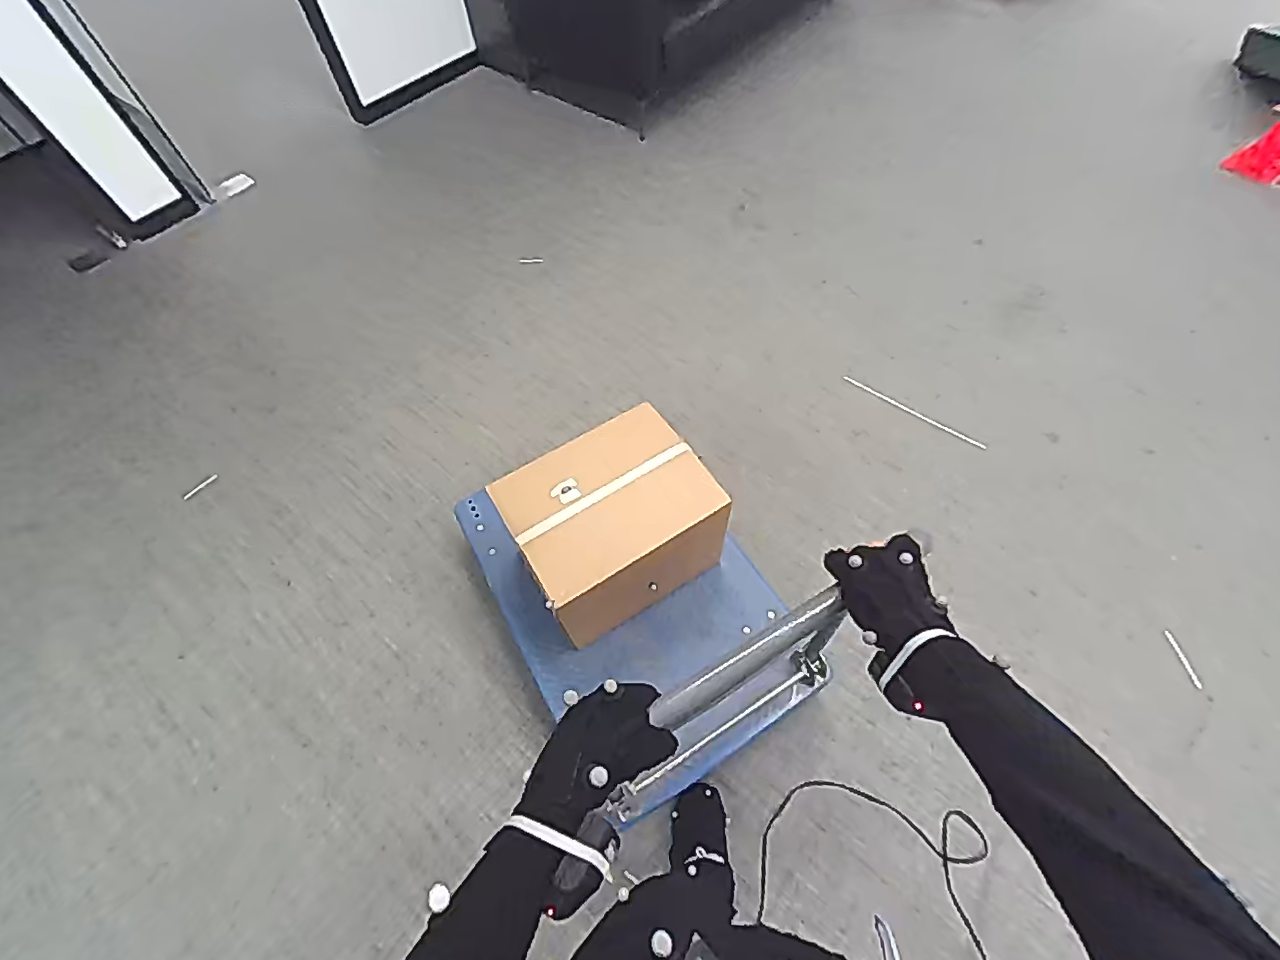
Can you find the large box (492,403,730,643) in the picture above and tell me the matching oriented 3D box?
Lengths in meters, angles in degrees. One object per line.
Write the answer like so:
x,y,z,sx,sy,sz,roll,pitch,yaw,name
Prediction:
-0.056,0.103,1.231,0.408,0.320,0.320,-31,62,-14,large box
